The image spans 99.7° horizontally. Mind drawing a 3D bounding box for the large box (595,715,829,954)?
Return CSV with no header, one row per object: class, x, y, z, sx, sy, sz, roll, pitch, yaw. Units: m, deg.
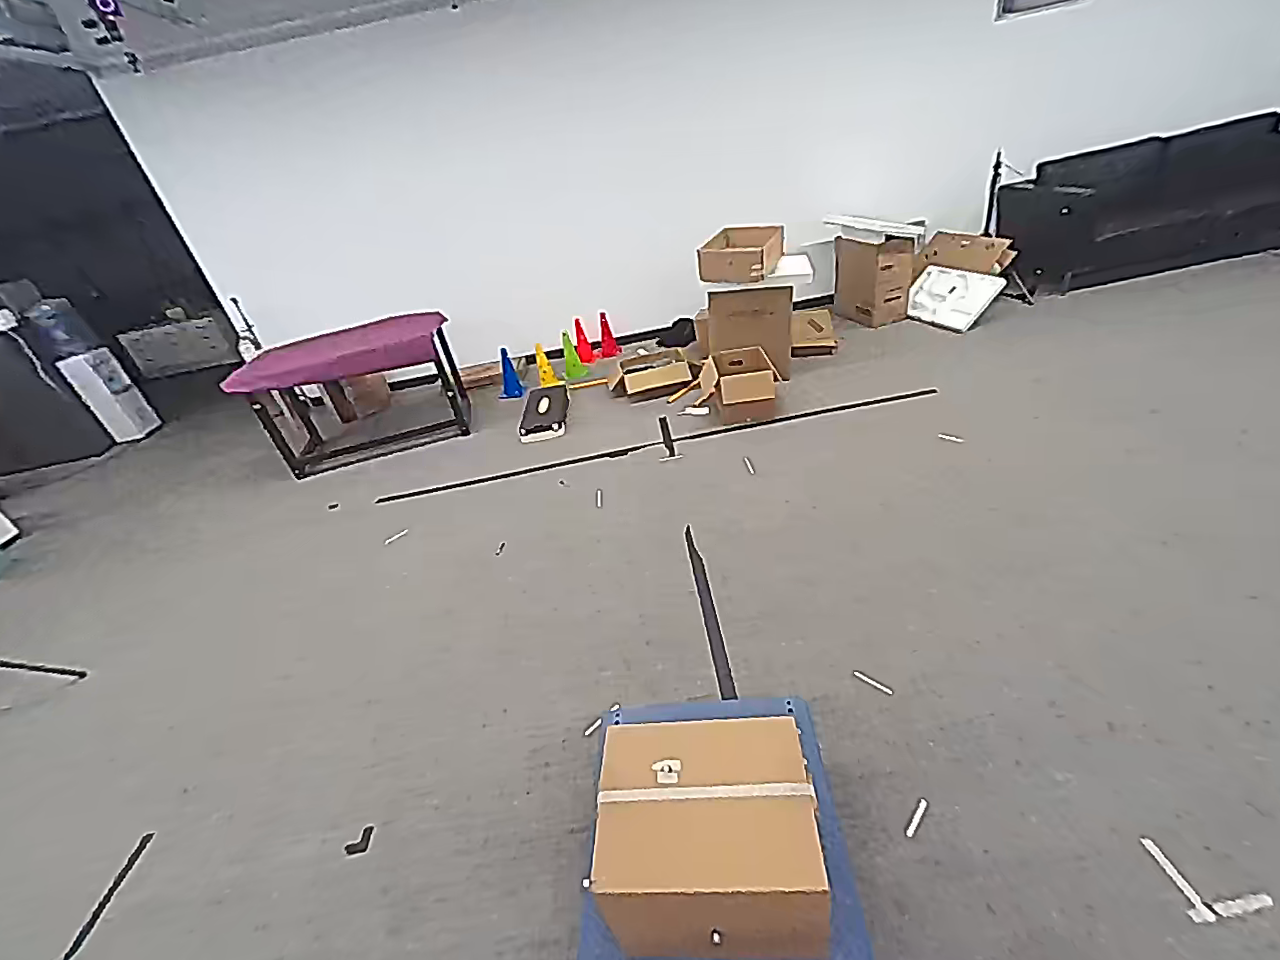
large box,0.149,0.733,1.121,0.408,0.320,0.320,-8,31,8
